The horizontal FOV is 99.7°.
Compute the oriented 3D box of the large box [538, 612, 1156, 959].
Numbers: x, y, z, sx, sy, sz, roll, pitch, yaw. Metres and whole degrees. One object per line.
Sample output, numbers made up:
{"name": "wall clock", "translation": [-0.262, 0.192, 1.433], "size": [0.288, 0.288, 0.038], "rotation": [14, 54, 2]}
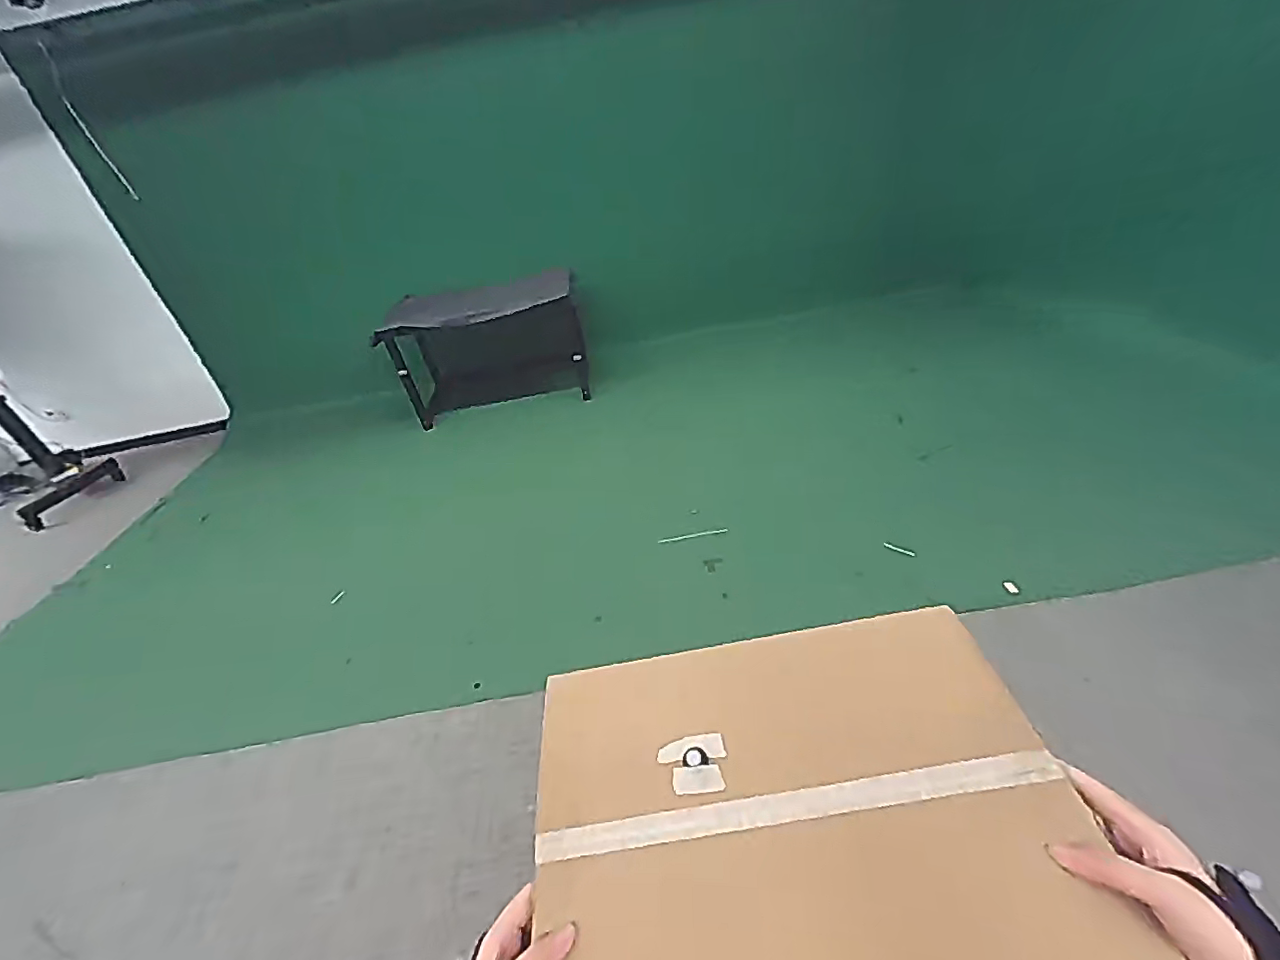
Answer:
{"name": "large box", "translation": [0.147, 0.379, 0.521], "size": [0.408, 0.320, 0.320], "rotation": [-13, 38, 5]}
